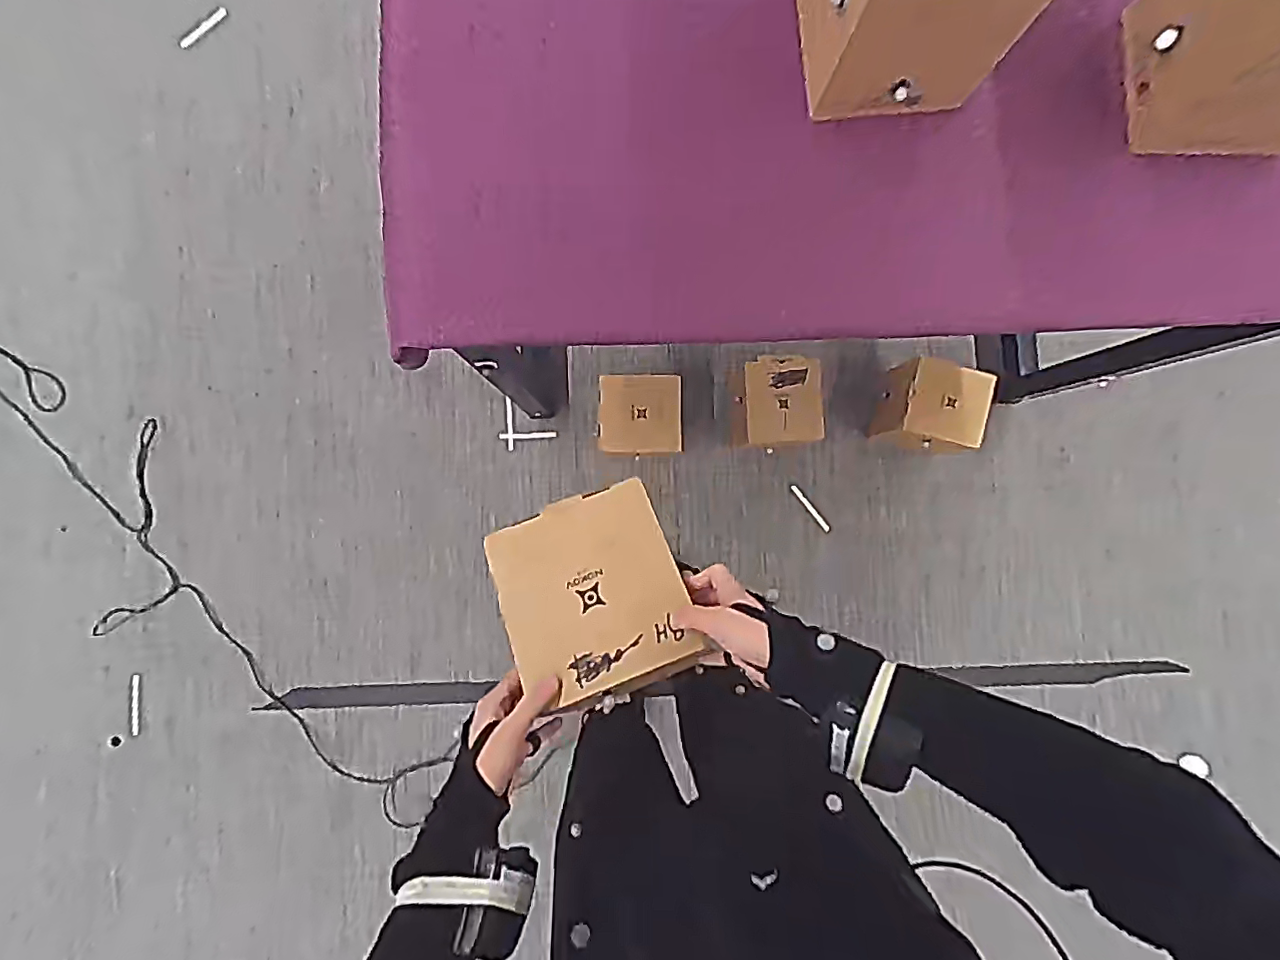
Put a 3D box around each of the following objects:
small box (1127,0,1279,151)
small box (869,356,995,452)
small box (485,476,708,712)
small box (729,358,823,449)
[{"bbox_3d":[0.621,-0.442,0.512,0.179,0.176,0.168,0,87,-1],"label":"small box"},{"bbox_3d":[0.657,-0.165,1.234,0.179,0.176,0.168,15,88,0],"label":"small box"},{"bbox_3d":[-0.038,0.127,0.566,0.168,0.176,0.179,-22,68,-2],"label":"small box"},{"bbox_3d":[0.300,-0.167,1.222,0.168,0.176,0.179,-3,89,-1],"label":"small box"}]
